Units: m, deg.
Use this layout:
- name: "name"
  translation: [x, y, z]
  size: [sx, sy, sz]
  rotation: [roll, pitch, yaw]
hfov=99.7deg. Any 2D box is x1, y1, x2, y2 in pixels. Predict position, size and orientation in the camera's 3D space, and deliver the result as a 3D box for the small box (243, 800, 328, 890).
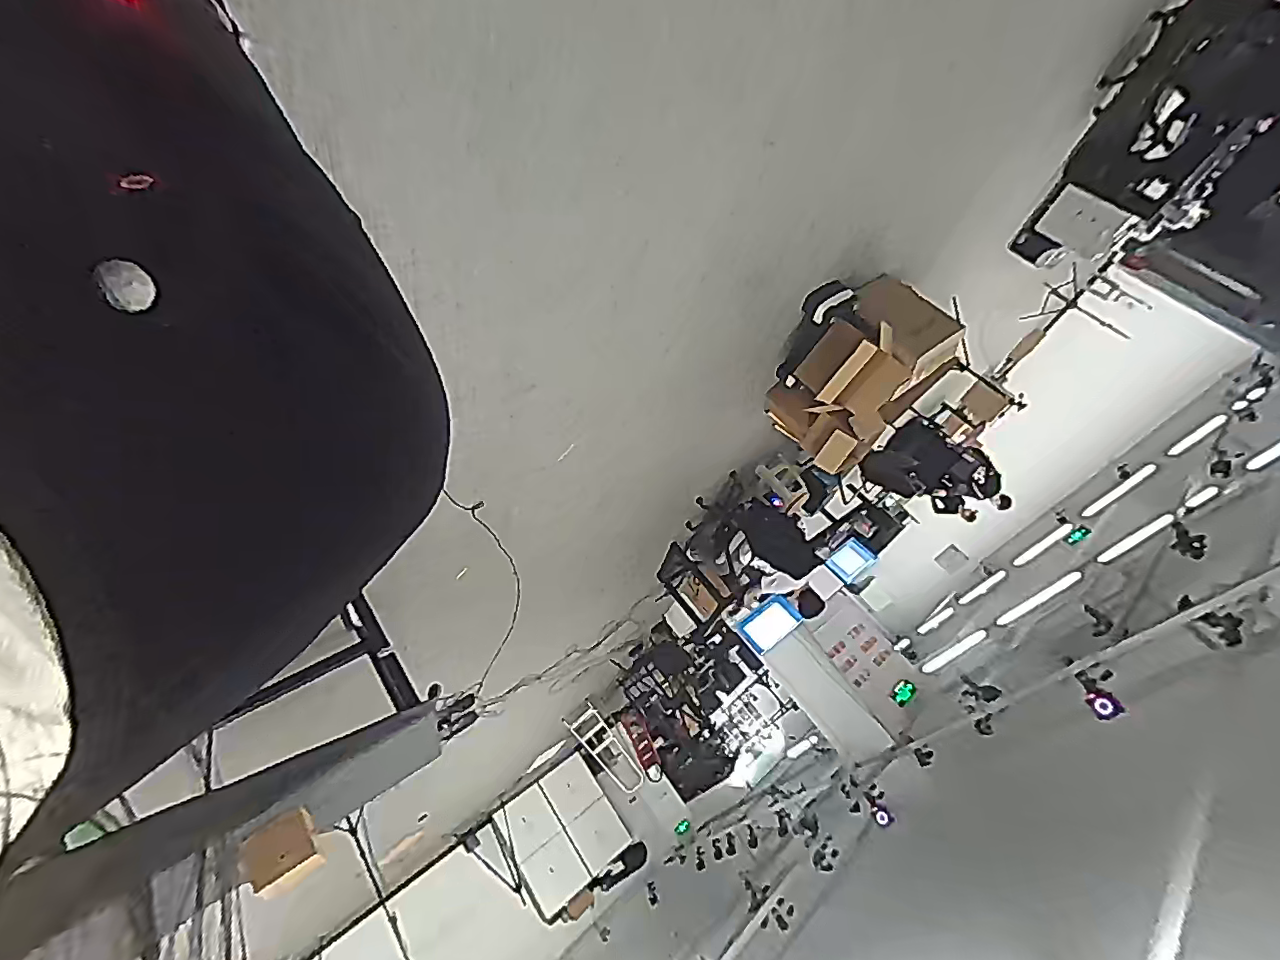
- name: "small box"
  translation: [-1.147, 1.177, 1.752]
  size: [0.179, 0.176, 0.168]
  rotation: [-24, 150, -34]
